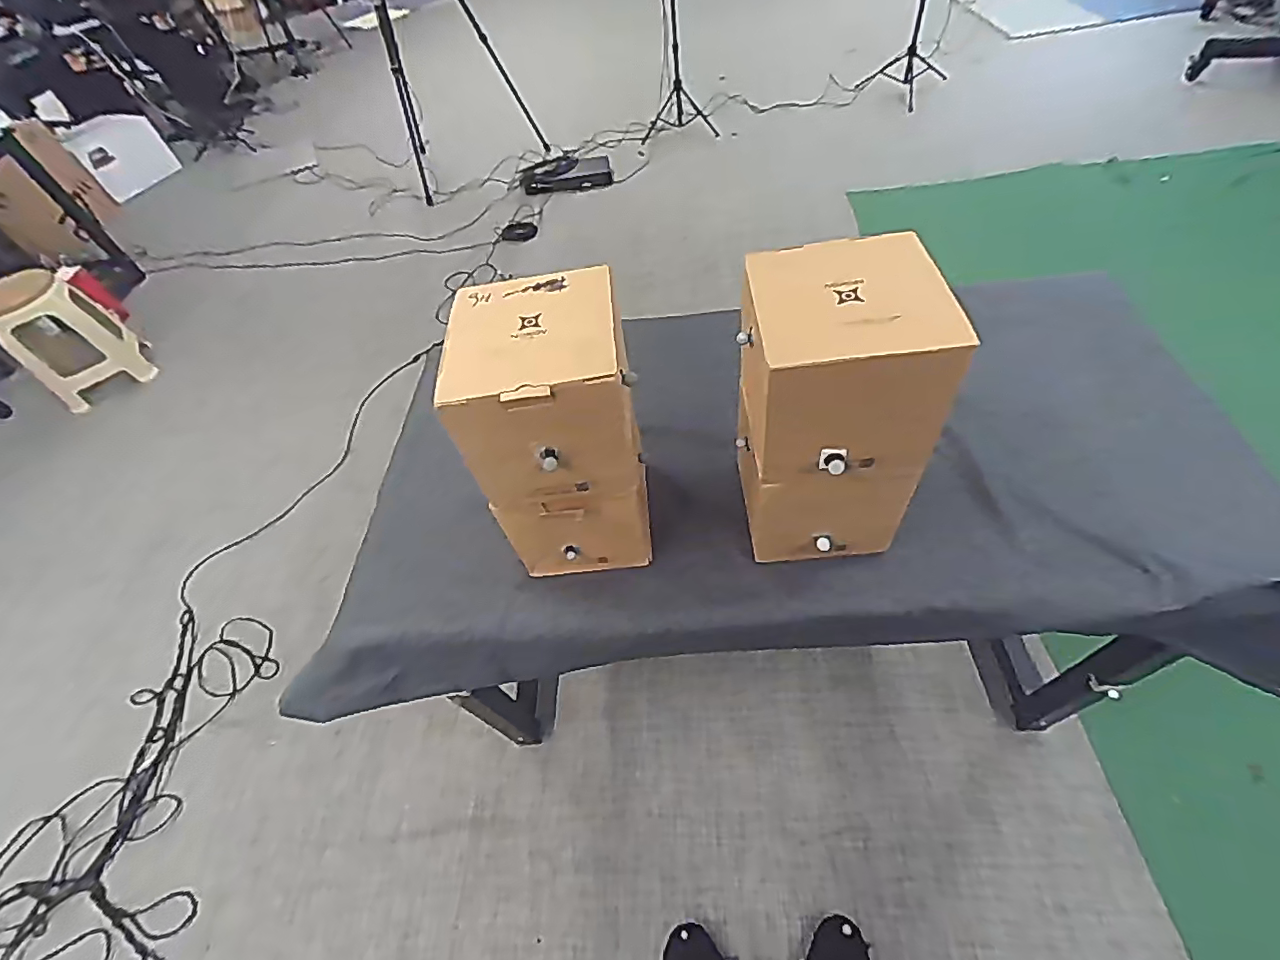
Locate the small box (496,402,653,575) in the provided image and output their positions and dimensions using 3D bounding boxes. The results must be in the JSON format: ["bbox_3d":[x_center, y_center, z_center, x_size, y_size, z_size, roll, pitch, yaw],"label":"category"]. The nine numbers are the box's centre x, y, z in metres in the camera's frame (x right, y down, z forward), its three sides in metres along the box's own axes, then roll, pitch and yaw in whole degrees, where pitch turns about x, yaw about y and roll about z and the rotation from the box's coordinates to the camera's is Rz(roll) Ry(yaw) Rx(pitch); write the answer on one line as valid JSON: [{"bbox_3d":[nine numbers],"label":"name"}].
[{"bbox_3d":[-0.076,0.004,0.712,0.168,0.176,0.179,-7,52,4],"label":"small box"}]

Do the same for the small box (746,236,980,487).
[{"bbox_3d":[0.200,-0.115,0.548,0.168,0.176,0.179,-6,52,7],"label":"small box"}]

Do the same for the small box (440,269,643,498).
[{"bbox_3d":[-0.091,-0.093,0.581,0.168,0.176,0.179,-8,53,3],"label":"small box"}]

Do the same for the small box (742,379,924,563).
[{"bbox_3d":[0.221,-0.017,0.676,0.168,0.176,0.179,-6,52,5],"label":"small box"}]
